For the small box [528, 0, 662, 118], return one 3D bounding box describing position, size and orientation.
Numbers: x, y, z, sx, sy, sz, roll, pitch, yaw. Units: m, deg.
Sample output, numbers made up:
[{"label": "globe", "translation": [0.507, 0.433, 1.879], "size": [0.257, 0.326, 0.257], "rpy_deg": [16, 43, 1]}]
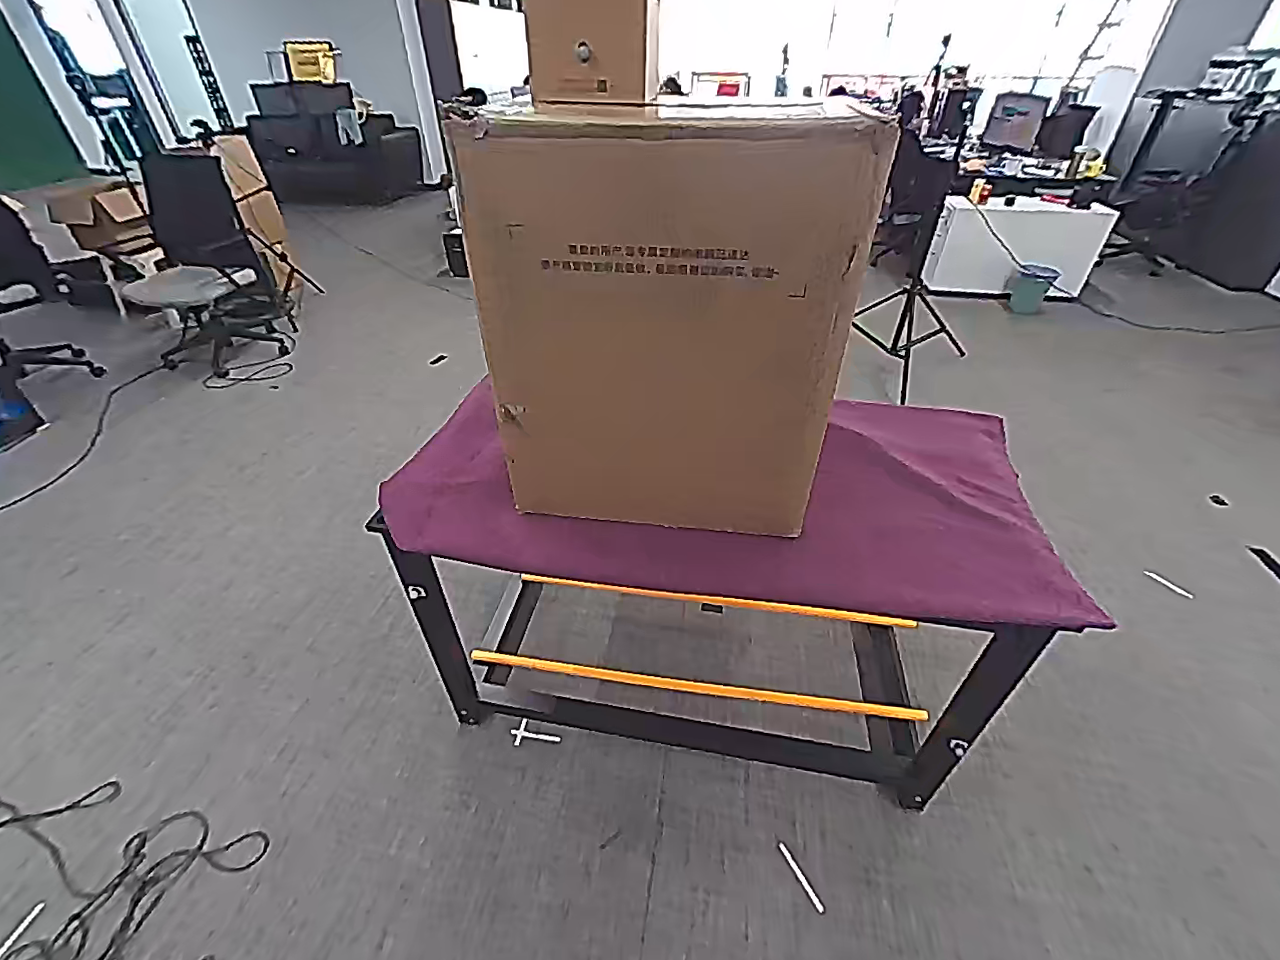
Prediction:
[{"label": "small box", "translation": [-0.060, -0.640, 0.789], "size": [0.168, 0.176, 0.179], "rpy_deg": [5, 39, 6]}]
